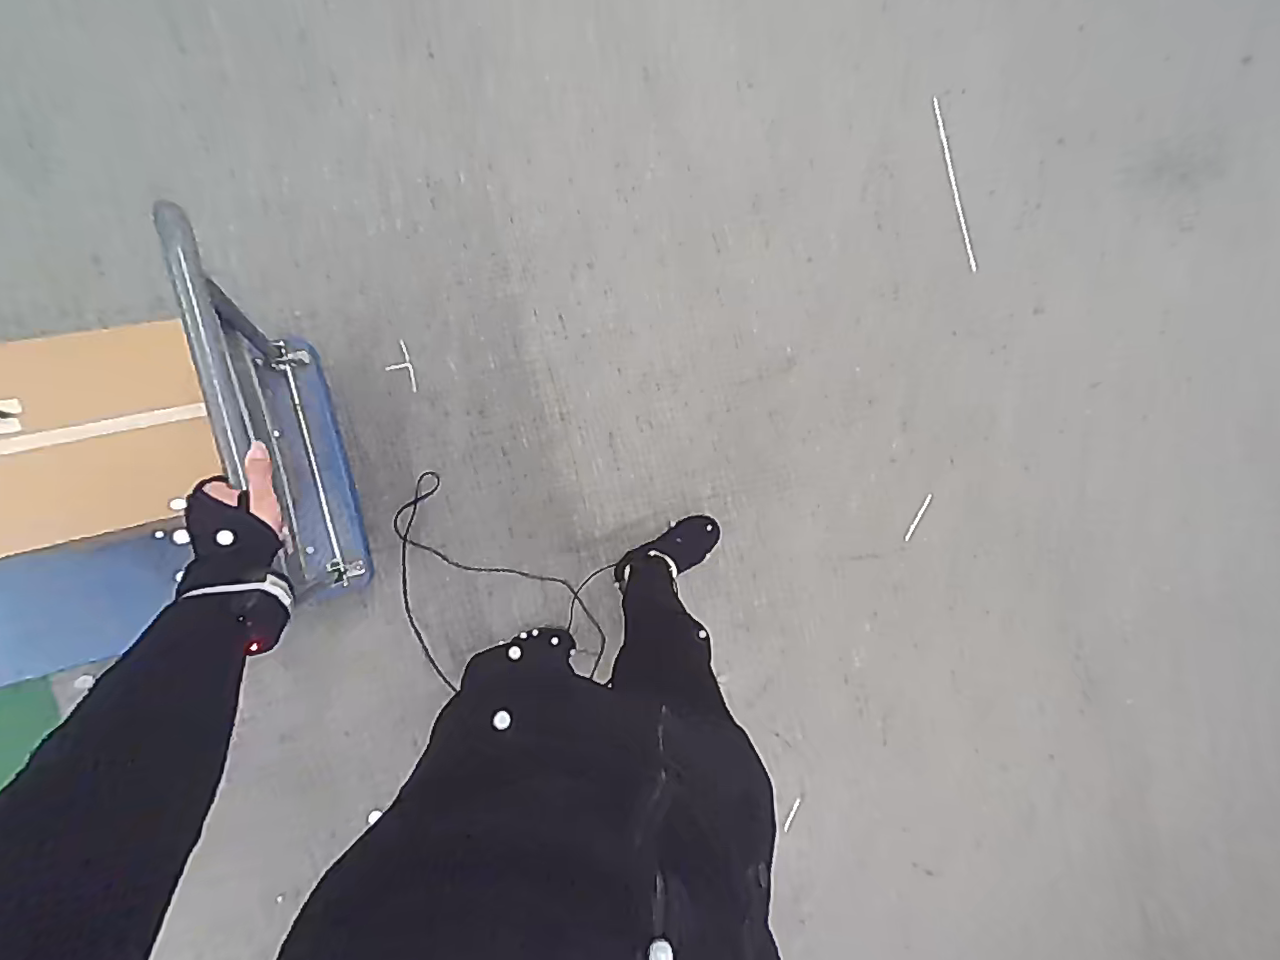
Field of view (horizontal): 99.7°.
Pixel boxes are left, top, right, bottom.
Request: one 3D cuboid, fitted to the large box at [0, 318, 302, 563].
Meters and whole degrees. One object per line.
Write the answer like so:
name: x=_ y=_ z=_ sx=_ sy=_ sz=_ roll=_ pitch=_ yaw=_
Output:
large box: x=-0.910 y=-0.063 z=0.970 sx=0.408 sy=0.320 sz=0.320 roll=-15 pitch=93 yaw=-17
